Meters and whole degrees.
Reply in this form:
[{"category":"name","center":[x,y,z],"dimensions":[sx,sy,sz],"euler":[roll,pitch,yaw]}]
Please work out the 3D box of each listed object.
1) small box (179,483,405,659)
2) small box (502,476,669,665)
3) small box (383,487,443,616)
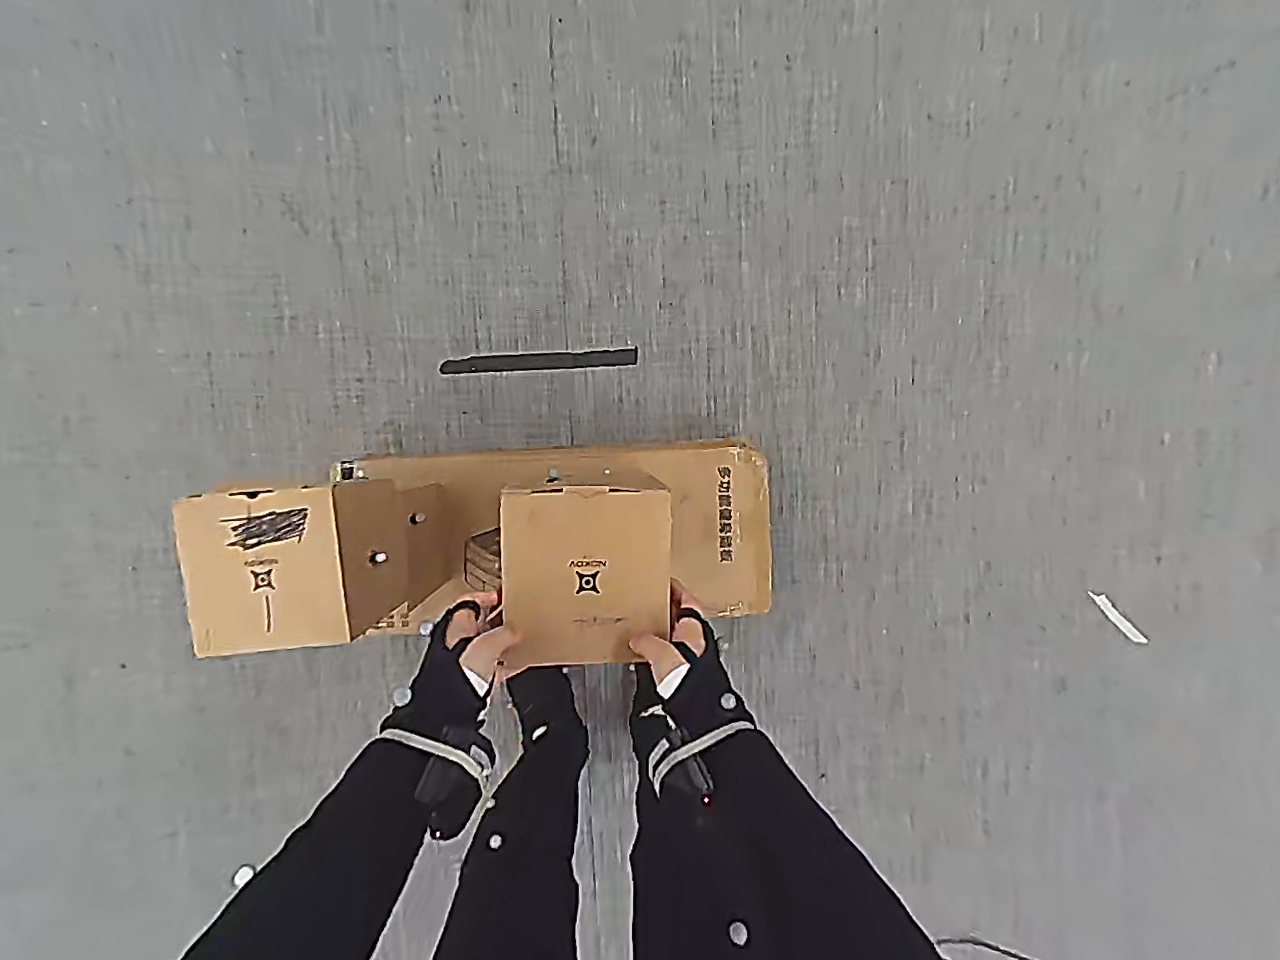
[{"category":"small box","center":[-0.405,0.096,0.659],"dimensions":[0.168,0.176,0.179],"euler":[-5,94,-3]},{"category":"small box","center":[-0.059,0.087,0.612],"dimensions":[0.168,0.176,0.179],"euler":[-2,97,-4]},{"category":"small box","center":[-0.411,0.102,0.823],"dimensions":[0.168,0.176,0.179],"euler":[-3,94,-3]}]
